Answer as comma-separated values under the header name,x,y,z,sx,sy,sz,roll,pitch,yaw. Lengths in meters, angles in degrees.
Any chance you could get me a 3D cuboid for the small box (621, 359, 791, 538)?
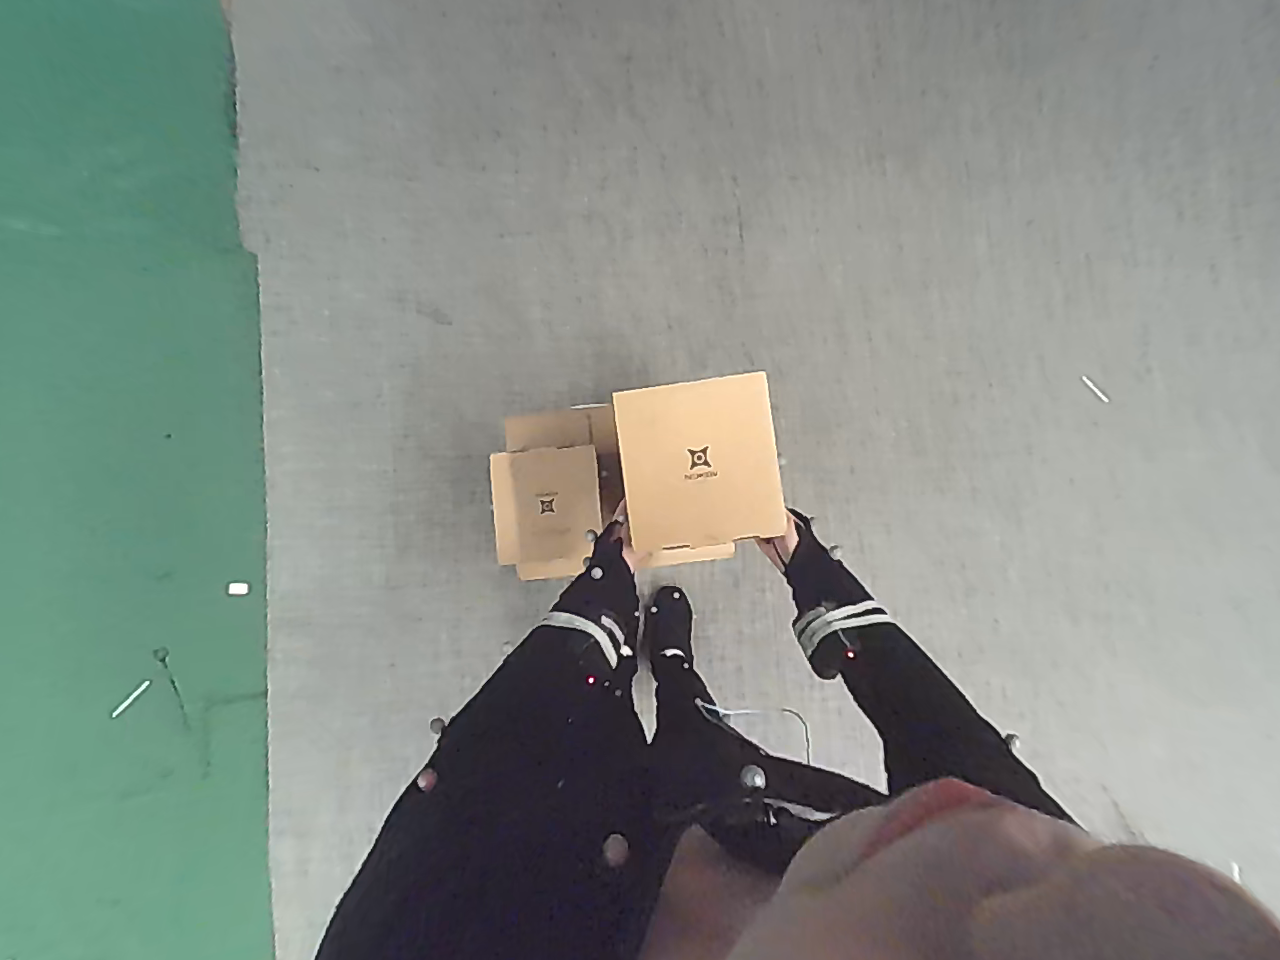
name,x,y,z,sx,sy,sz,roll,pitch,yaw
small box,0.069,-0.031,0.646,0.168,0.176,0.179,-7,89,2
